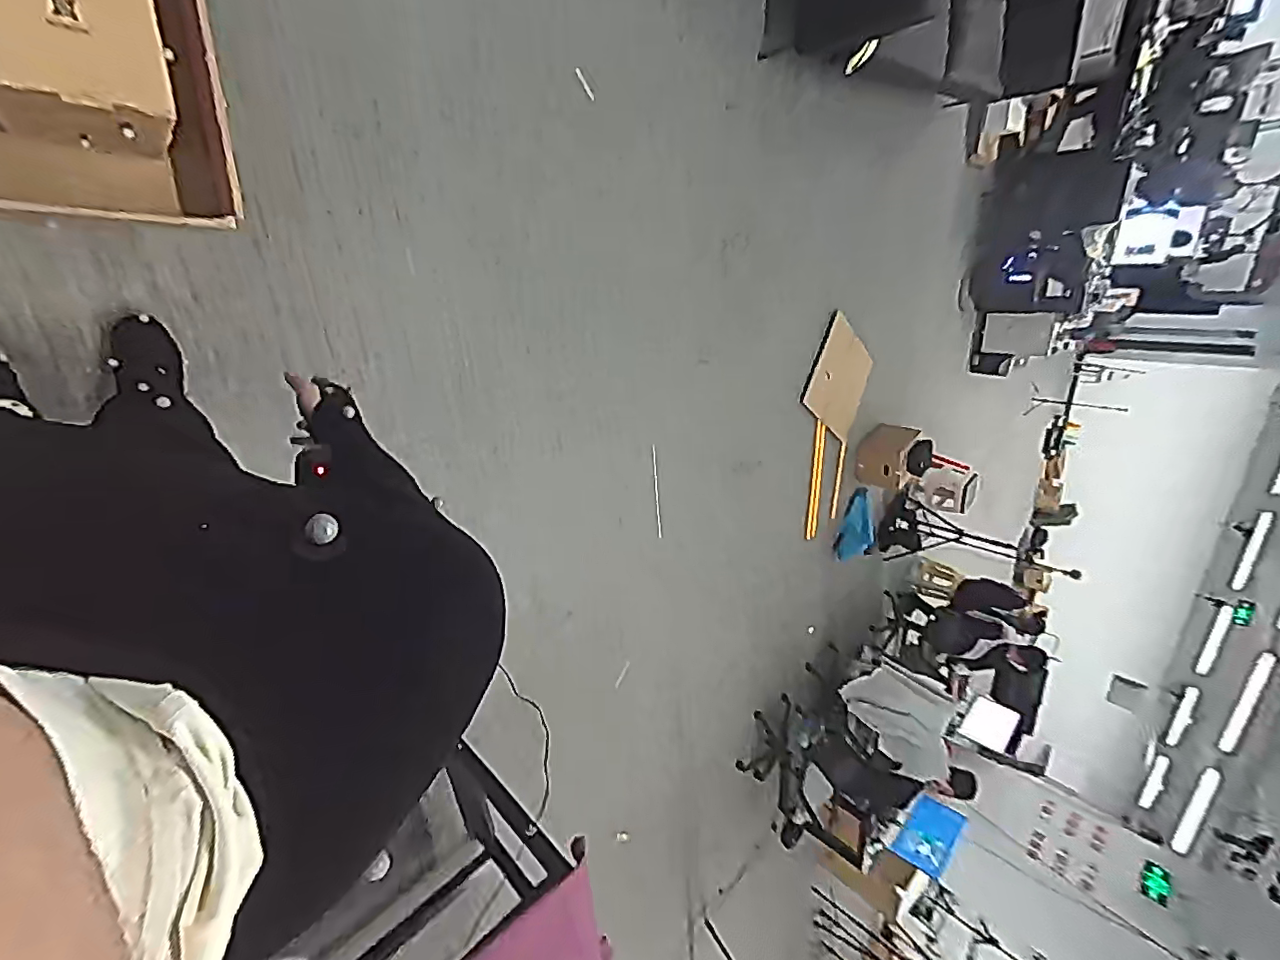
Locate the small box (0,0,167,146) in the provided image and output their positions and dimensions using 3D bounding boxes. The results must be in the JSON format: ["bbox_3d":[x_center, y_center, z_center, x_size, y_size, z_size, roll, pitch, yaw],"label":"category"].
[{"bbox_3d":[-0.699,-0.526,0.650,0.168,0.176,0.179,-15,113,-44],"label":"small box"}]
